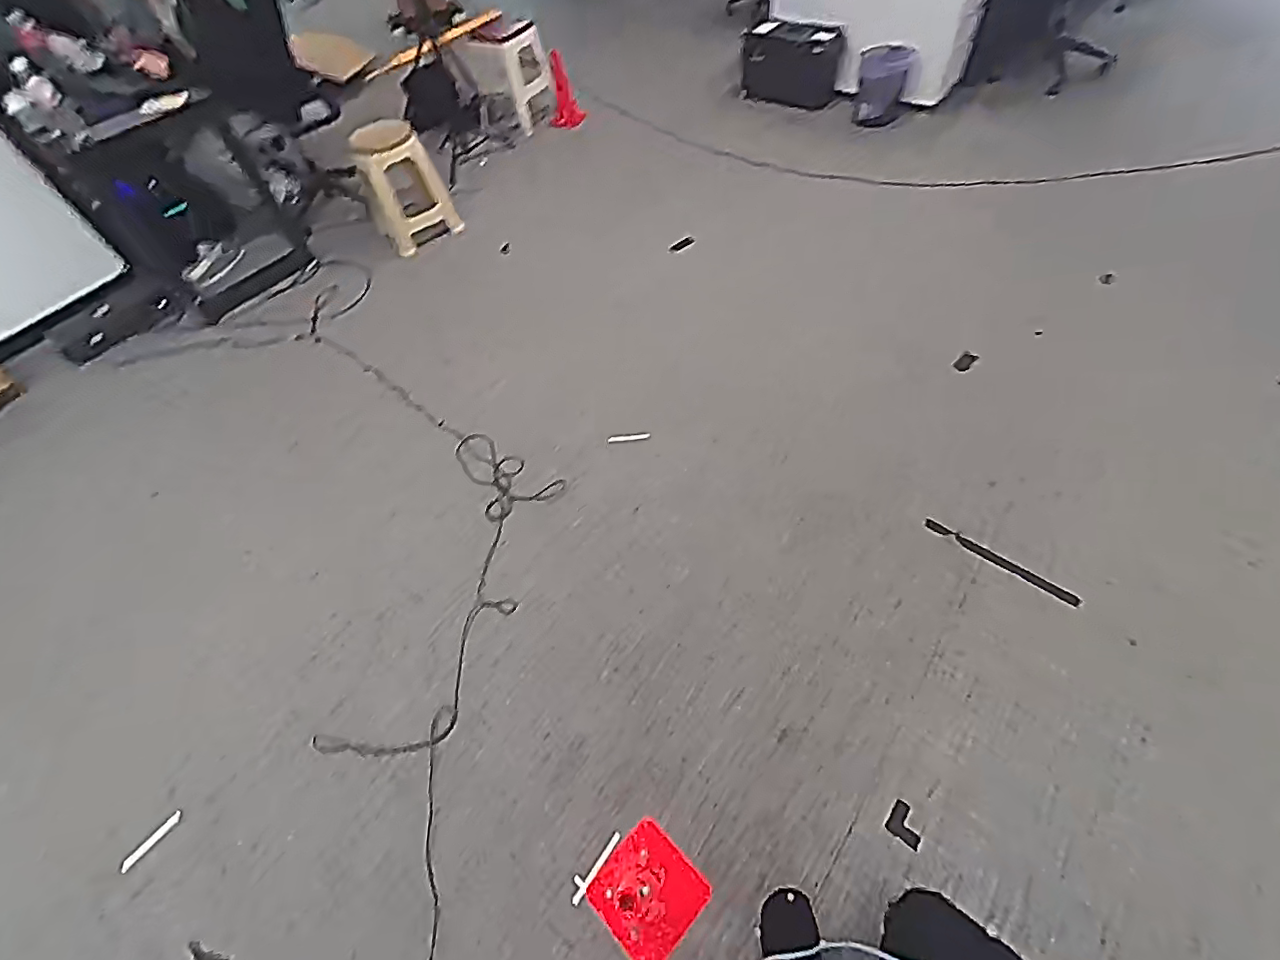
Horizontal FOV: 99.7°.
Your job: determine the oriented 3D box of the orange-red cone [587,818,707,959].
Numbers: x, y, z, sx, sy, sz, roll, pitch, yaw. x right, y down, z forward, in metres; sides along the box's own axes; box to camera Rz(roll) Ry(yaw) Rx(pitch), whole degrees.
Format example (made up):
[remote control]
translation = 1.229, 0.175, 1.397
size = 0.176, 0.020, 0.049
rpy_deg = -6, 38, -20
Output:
[orange-red cone]
translation = -0.003, 0.758, 0.985
size = 0.198, 0.360, 0.199
rpy_deg = -40, 61, -19
